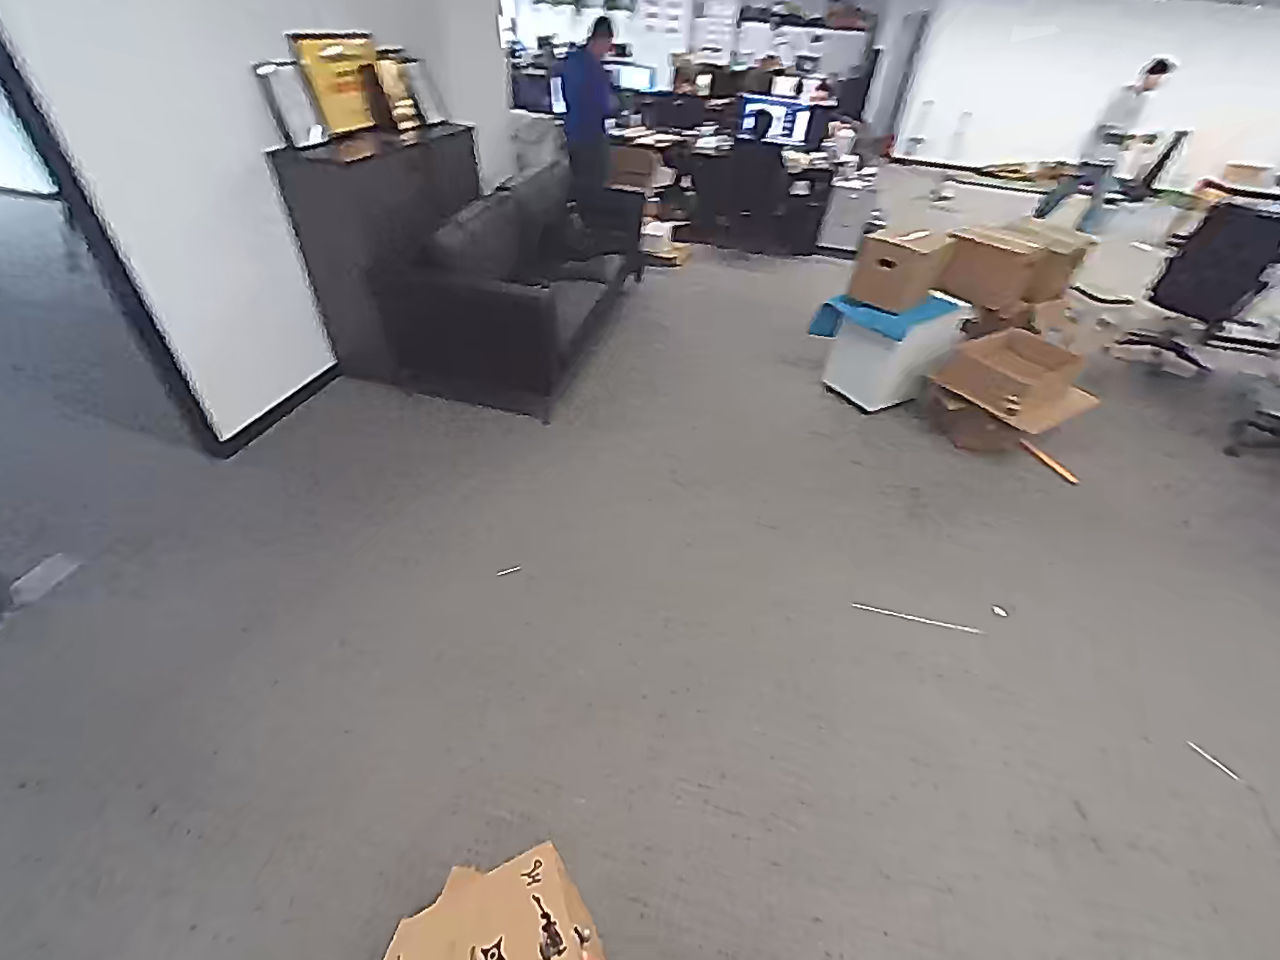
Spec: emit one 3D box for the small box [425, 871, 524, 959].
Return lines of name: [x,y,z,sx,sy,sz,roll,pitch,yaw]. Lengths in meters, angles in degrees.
small box: [-0.369,1.007,1.198,0.179,0.176,0.168,11,40,8]

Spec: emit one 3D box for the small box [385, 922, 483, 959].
small box: [-0.394,0.962,0.992,0.168,0.176,0.179,11,38,6]
